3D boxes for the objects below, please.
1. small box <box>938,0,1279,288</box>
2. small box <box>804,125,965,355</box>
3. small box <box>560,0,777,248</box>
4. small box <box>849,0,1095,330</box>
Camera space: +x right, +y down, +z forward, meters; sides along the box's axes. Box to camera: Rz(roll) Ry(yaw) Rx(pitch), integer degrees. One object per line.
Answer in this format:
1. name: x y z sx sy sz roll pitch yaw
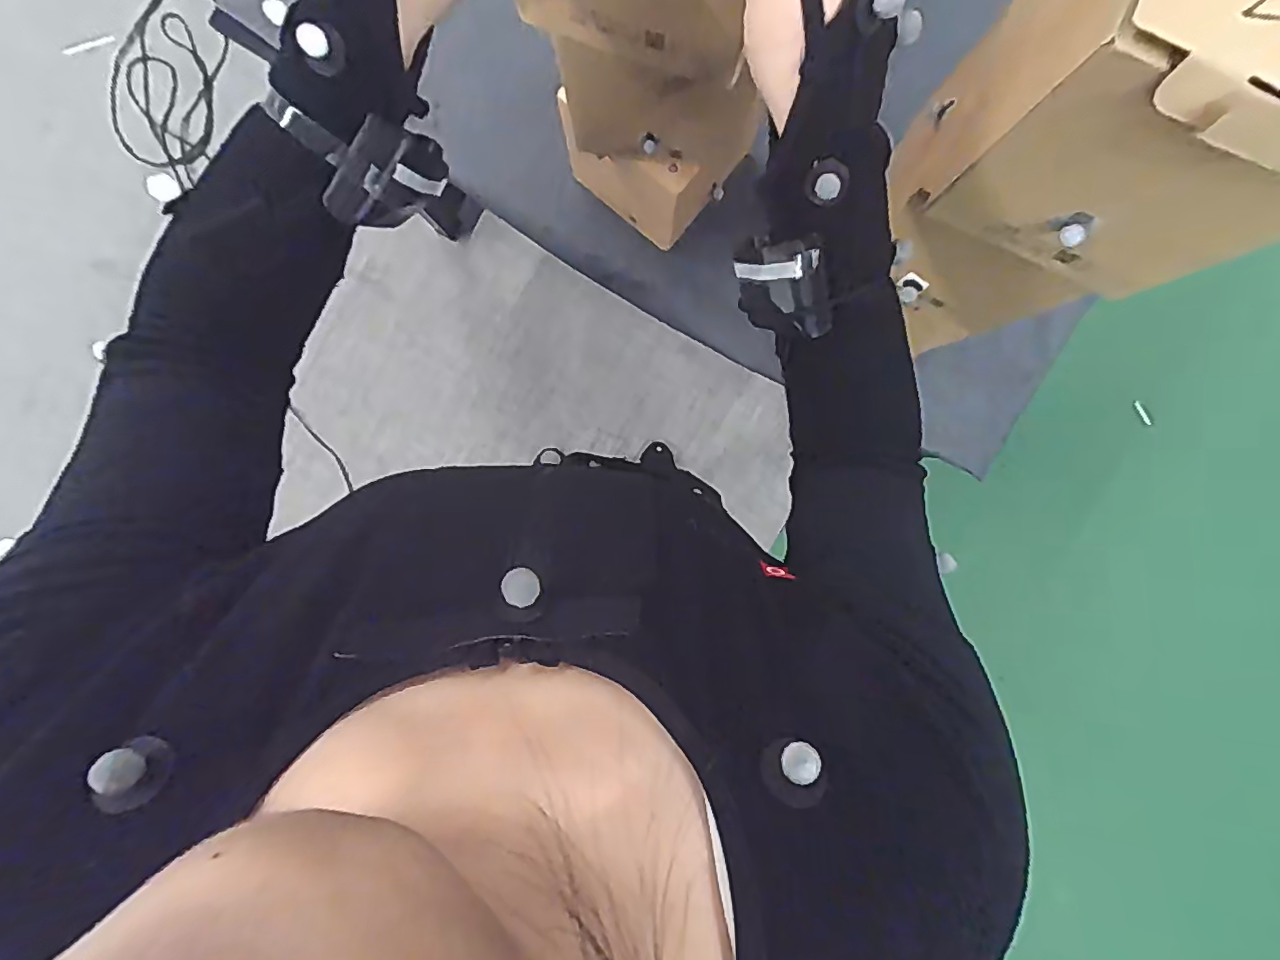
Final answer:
1. small box: 0.320 -0.249 0.326 0.168 0.176 0.179 23 91 0
2. small box: 0.321 -0.274 0.653 0.168 0.176 0.179 30 91 -2
3. small box: 0.027 -0.420 0.644 0.168 0.176 0.179 38 91 -3
4. small box: 0.321 -0.264 0.491 0.168 0.176 0.179 26 93 0
